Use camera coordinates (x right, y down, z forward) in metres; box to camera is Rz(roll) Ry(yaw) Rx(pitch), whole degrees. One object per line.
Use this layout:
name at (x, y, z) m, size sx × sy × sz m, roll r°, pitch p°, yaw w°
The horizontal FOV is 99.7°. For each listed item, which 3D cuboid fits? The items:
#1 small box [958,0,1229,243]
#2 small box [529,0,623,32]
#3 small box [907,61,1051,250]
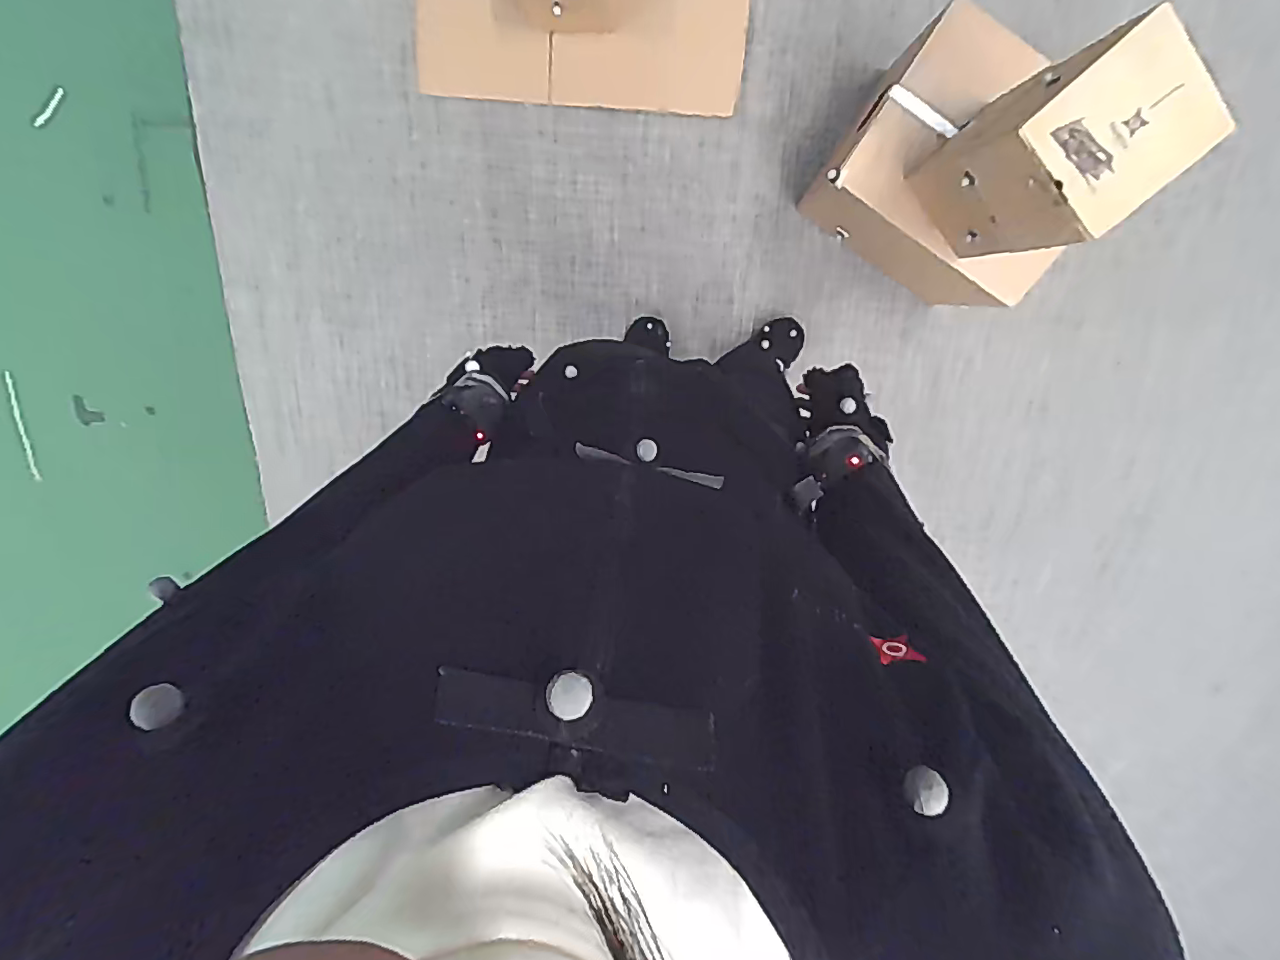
small box at (0.543, -0.427, 0.684) m, size 0.168 × 0.176 × 0.179 m, roll 43°, pitch 107°, yaw -10°
small box at (-0.130, -0.993, 1.030) m, size 0.179 × 0.176 × 0.168 m, roll 2°, pitch 106°, yaw 5°
small box at (0.559, -0.480, 0.839) m, size 0.168 × 0.176 × 0.179 m, roll -41°, pitch 100°, yaw 15°
